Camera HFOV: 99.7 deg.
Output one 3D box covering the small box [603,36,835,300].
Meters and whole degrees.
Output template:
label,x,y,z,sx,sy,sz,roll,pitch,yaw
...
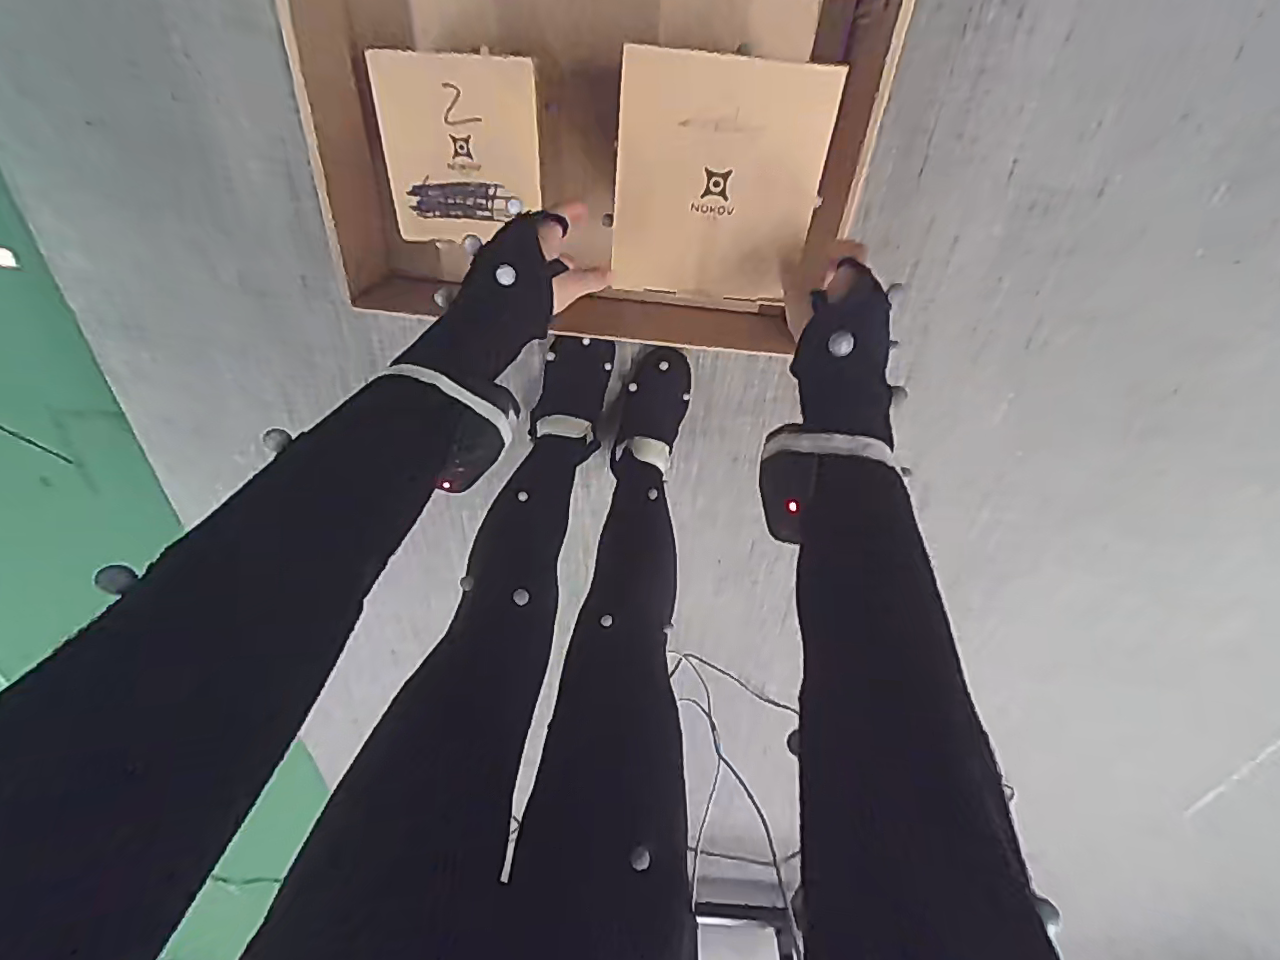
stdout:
label,x,y,z,sx,sy,sz,roll,pitch,yaw
small box,0.061,-0.291,0.511,0.168,0.176,0.179,6,125,-1
